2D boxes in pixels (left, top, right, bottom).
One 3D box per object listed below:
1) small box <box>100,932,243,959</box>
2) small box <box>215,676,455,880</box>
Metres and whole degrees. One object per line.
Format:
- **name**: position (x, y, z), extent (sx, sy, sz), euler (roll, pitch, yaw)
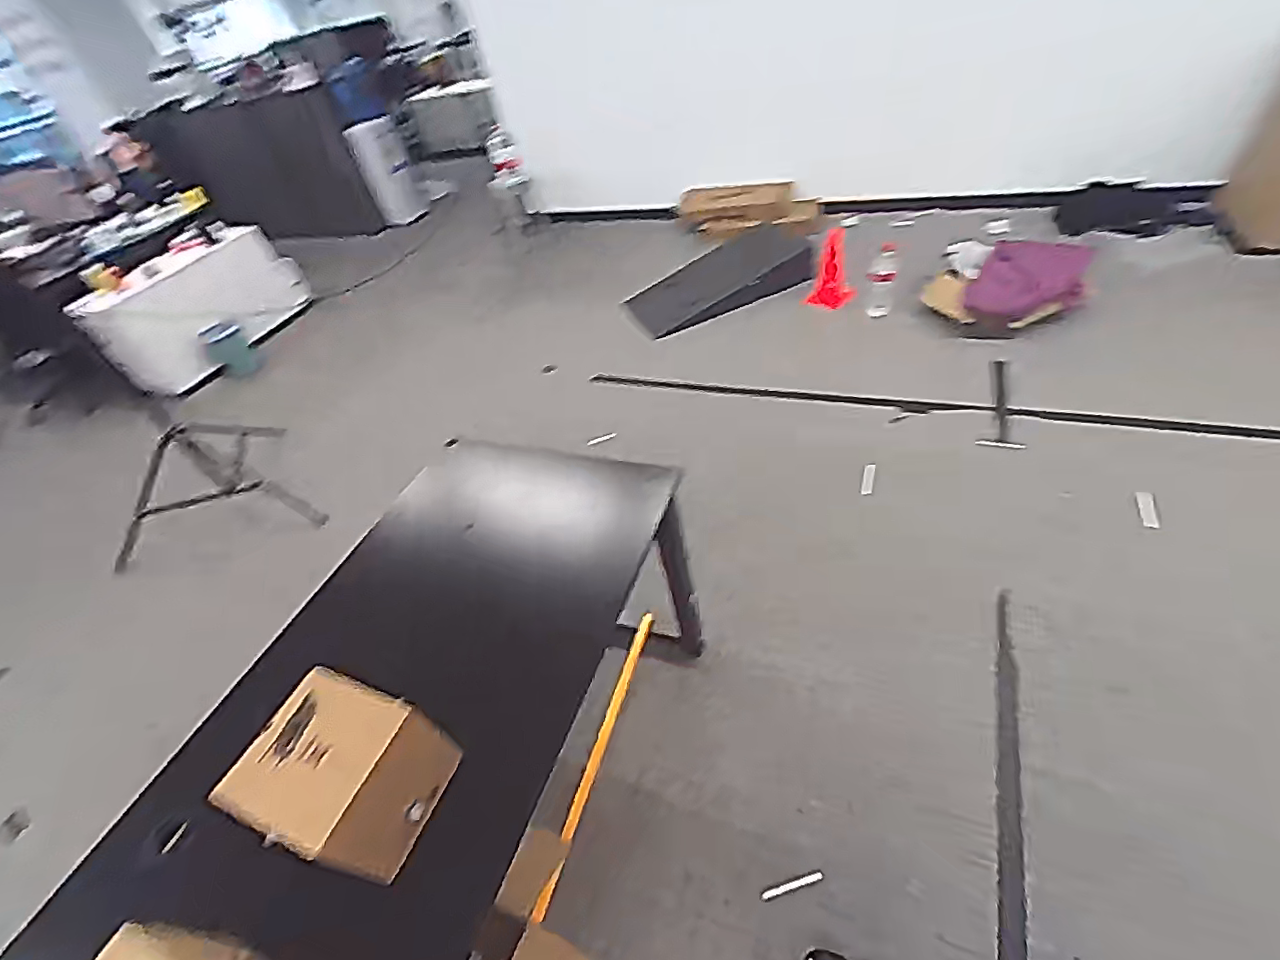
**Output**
- **small box**: position (-0.475, 0.592, 0.530), extent (0.168, 0.176, 0.179), euler (8, 48, 21)
- **small box**: position (-0.382, 0.391, 0.709), extent (0.179, 0.176, 0.168), euler (10, 49, 22)
